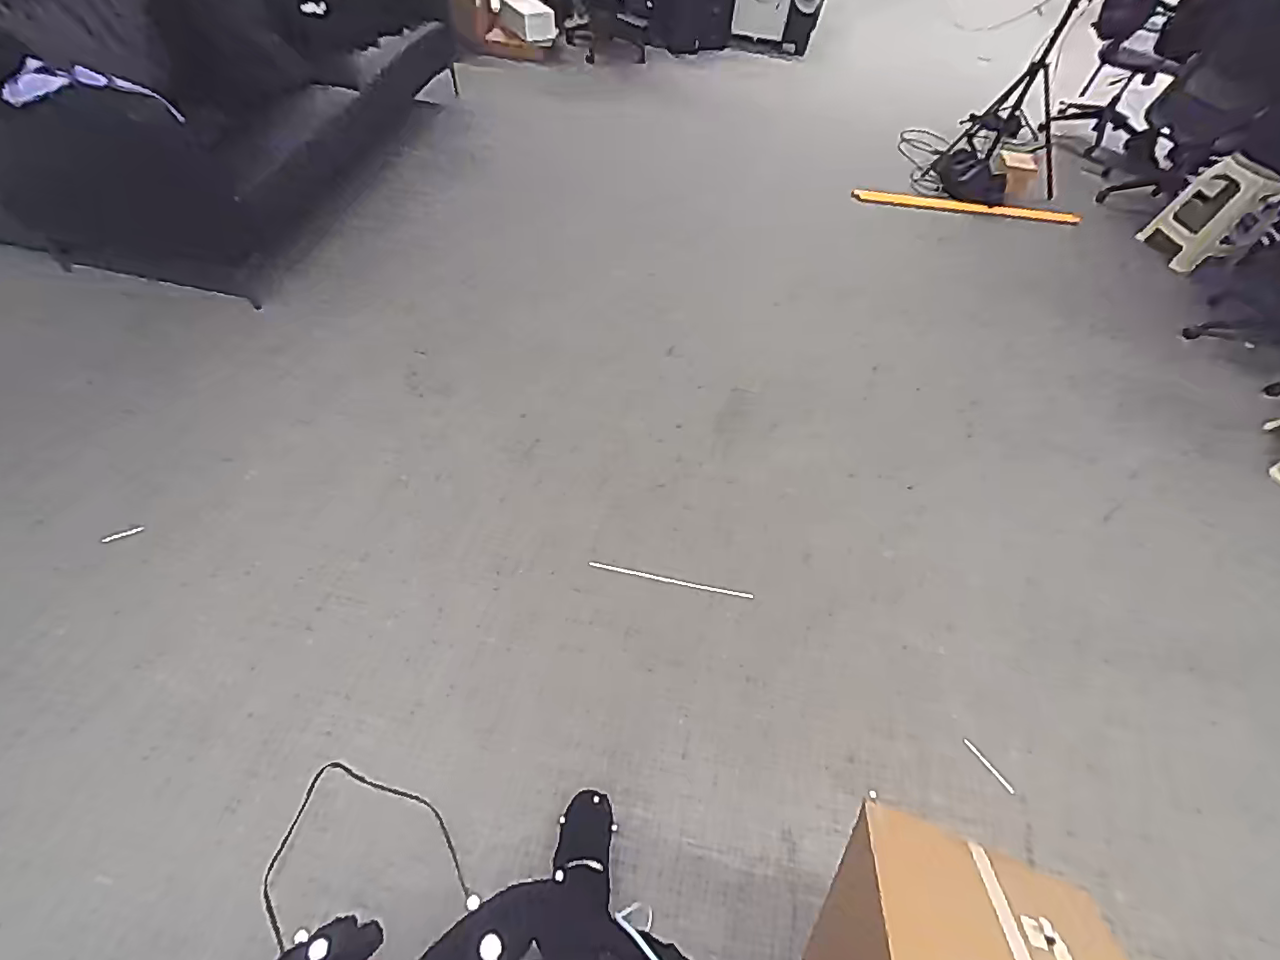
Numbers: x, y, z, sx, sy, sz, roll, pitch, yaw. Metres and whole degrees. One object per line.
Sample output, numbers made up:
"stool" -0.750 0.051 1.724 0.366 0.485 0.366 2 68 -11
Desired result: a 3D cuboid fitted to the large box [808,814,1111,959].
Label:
"large box" 0.393 0.721 0.638 0.320 0.408 0.320 20 99 14
